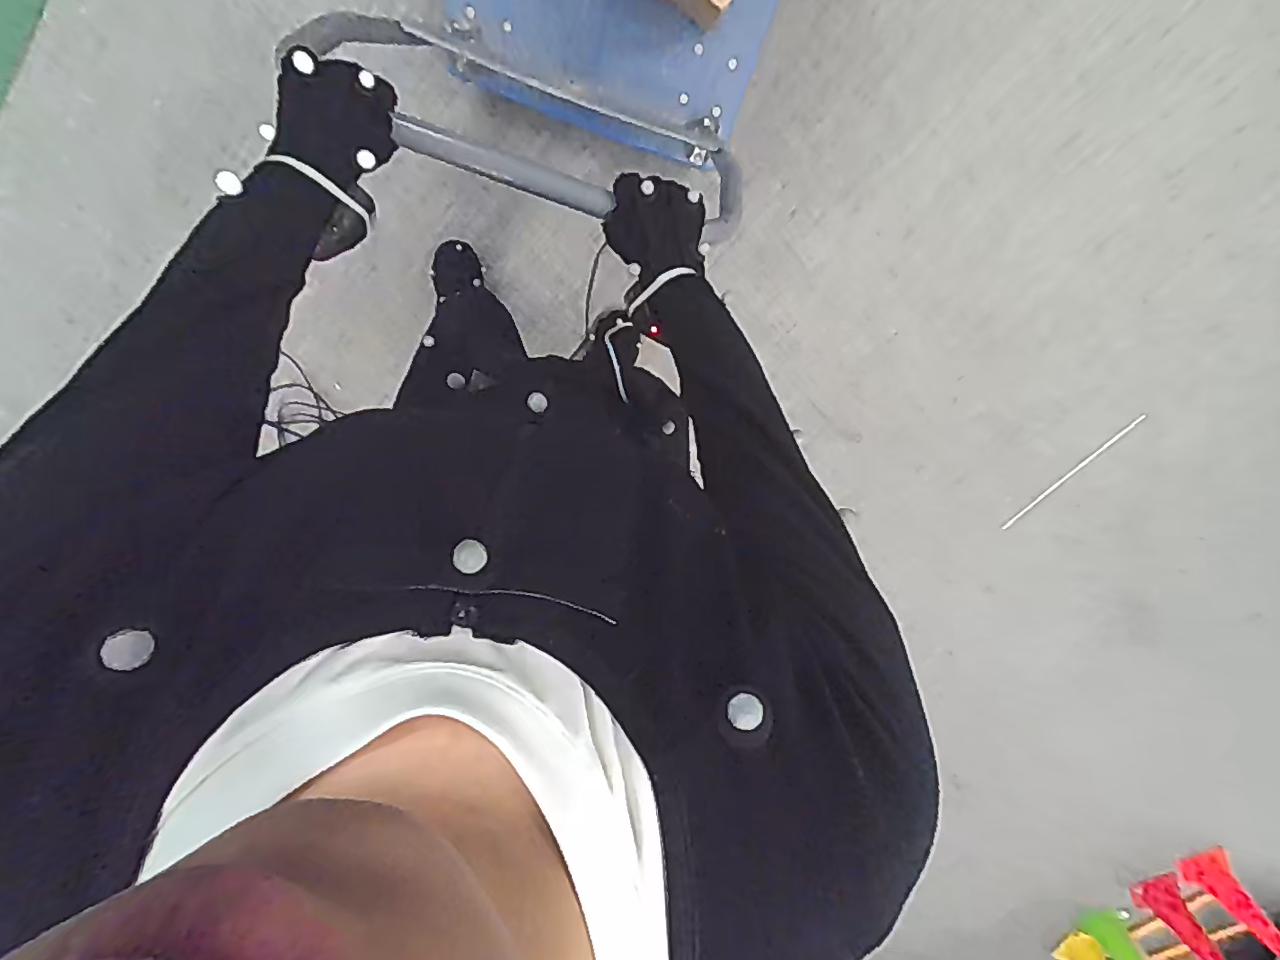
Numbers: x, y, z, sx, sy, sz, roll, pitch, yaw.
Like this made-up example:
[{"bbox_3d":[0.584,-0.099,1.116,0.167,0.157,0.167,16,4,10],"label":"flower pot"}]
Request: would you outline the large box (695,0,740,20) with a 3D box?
[{"bbox_3d":[0.059,-0.944,0.742,0.408,0.320,0.320,31,122,-17],"label":"large box"}]
